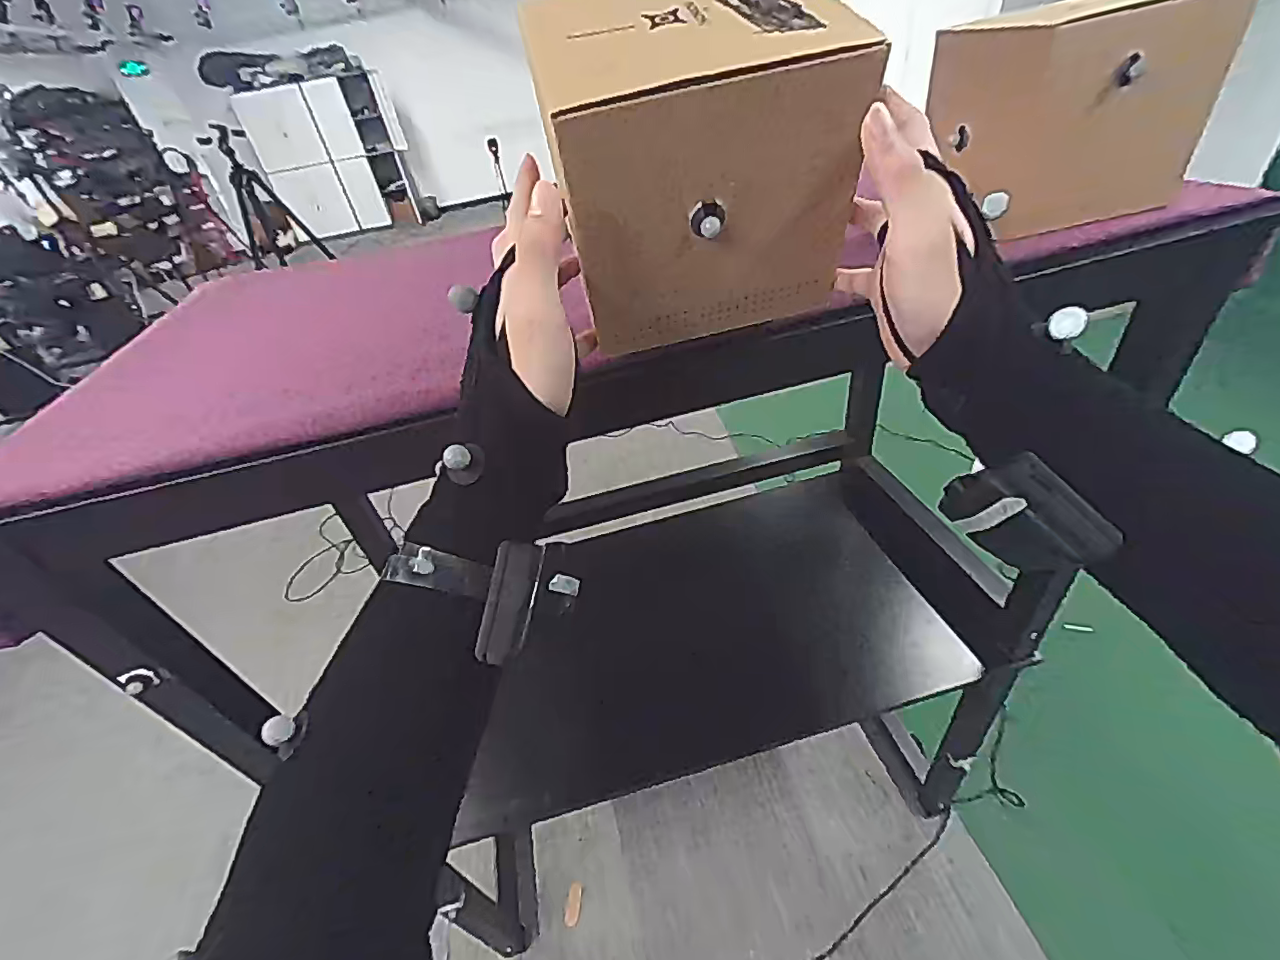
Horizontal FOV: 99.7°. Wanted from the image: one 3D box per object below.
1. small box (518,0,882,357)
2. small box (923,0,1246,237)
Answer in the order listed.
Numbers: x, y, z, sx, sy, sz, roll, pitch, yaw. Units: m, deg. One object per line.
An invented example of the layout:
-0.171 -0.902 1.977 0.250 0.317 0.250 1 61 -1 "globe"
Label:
0.030 -0.213 0.374 0.179 0.176 0.168 -14 58 0 "small box"
0.405 -0.357 0.535 0.179 0.176 0.168 -12 39 0 "small box"
